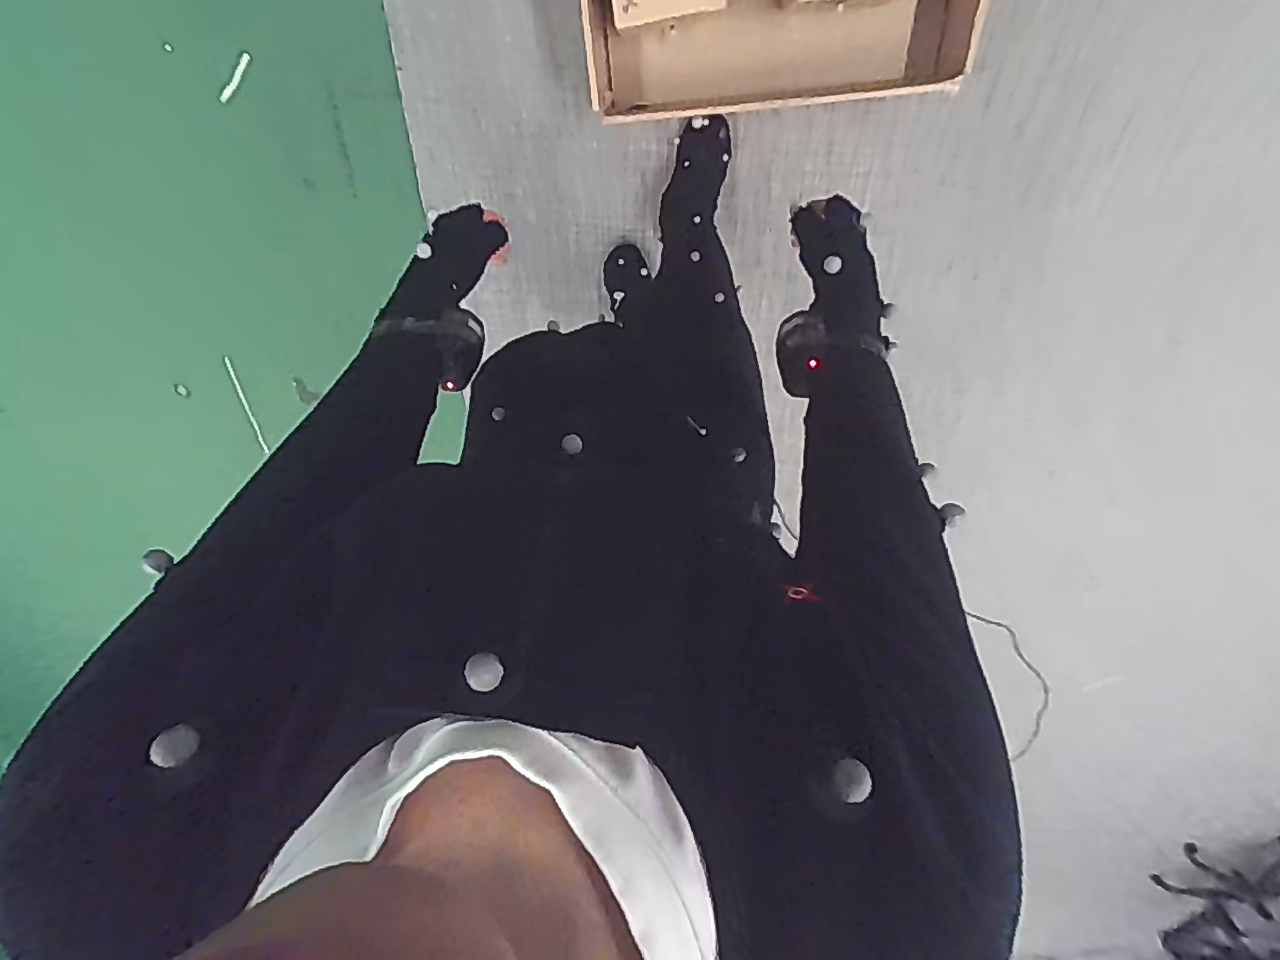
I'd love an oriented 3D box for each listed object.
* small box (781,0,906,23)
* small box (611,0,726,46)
[{"bbox_3d":[0.318,-0.825,0.833,0.179,0.176,0.168,0,126,6],"label":"small box"},{"bbox_3d":[0.039,-0.816,0.865,0.179,0.176,0.168,-5,125,7],"label":"small box"}]
